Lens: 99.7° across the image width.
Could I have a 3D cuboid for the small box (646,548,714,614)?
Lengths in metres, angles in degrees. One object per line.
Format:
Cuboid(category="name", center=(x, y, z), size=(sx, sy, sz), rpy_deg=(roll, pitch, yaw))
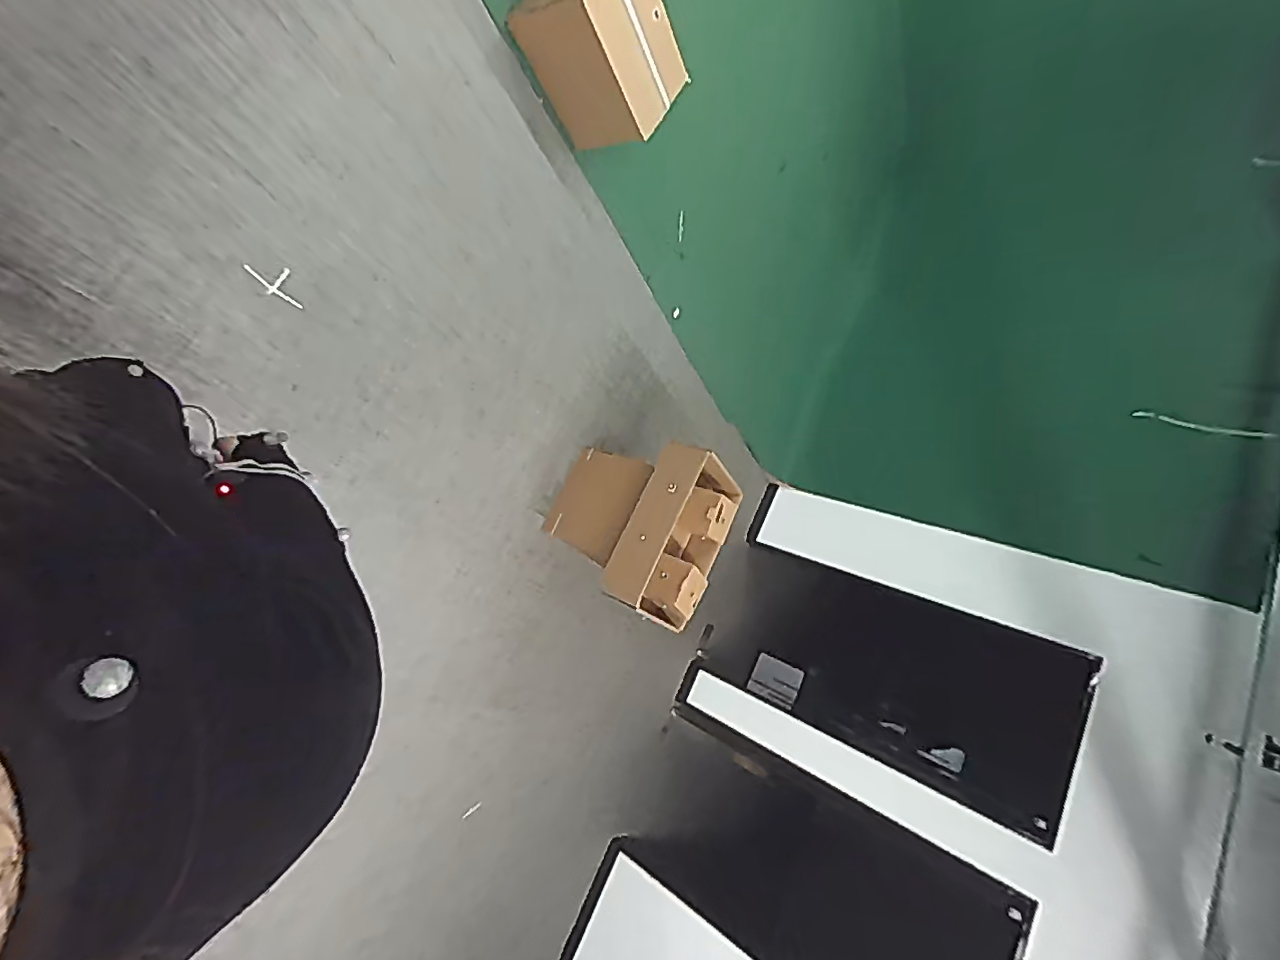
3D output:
Cuboid(category="small box", center=(0.149, 0.377, 2.046), size=(0.168, 0.176, 0.179), rpy_deg=(-58, 141, -18))
